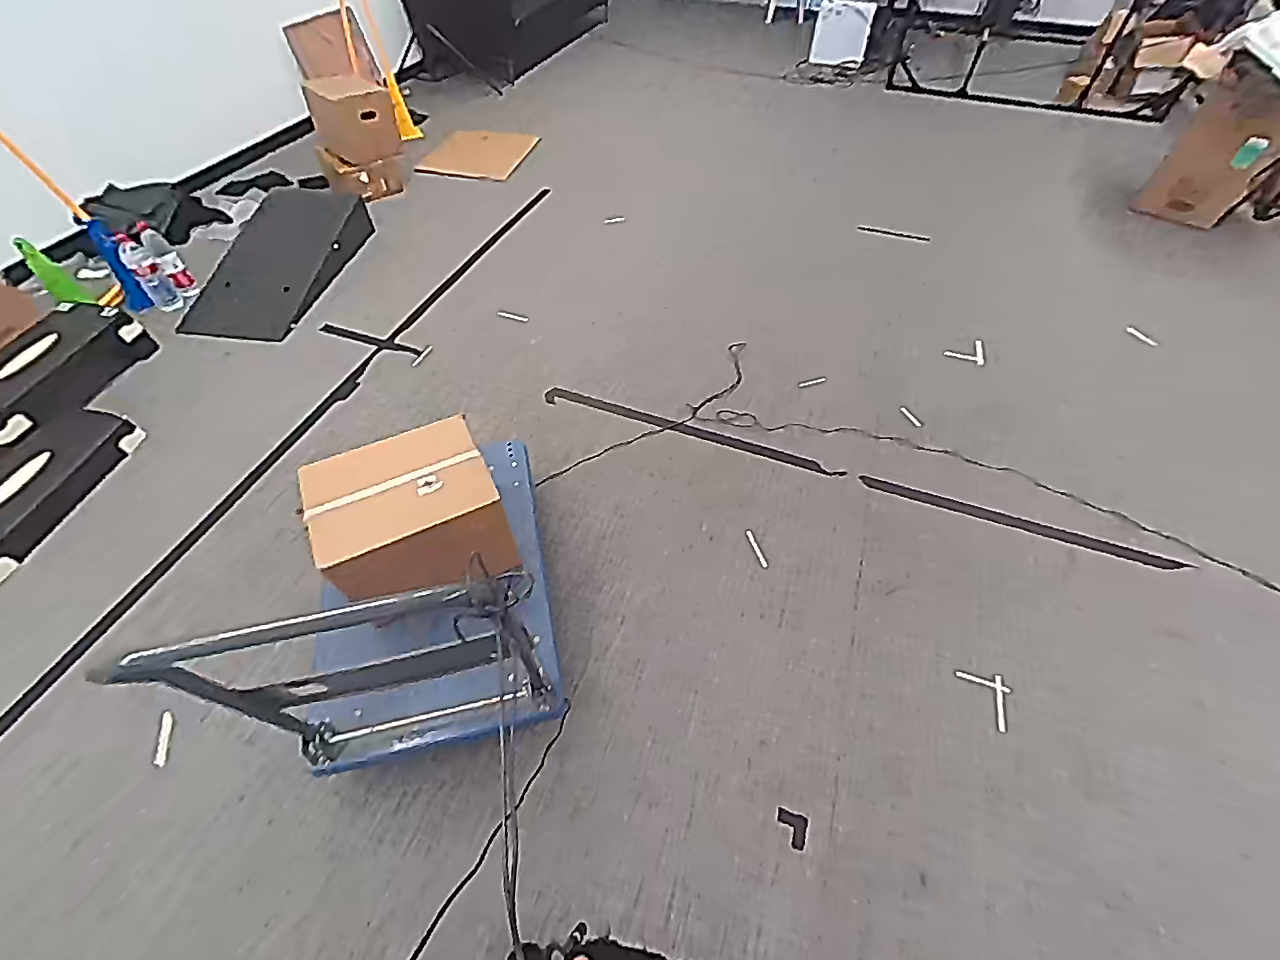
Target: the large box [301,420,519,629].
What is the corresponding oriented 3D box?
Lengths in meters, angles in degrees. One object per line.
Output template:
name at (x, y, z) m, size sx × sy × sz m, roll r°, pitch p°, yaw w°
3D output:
large box at (-0.568, 0.112, 1.383) m, size 0.408 × 0.320 × 0.320 m, roll -22°, pitch 56°, yaw -18°
